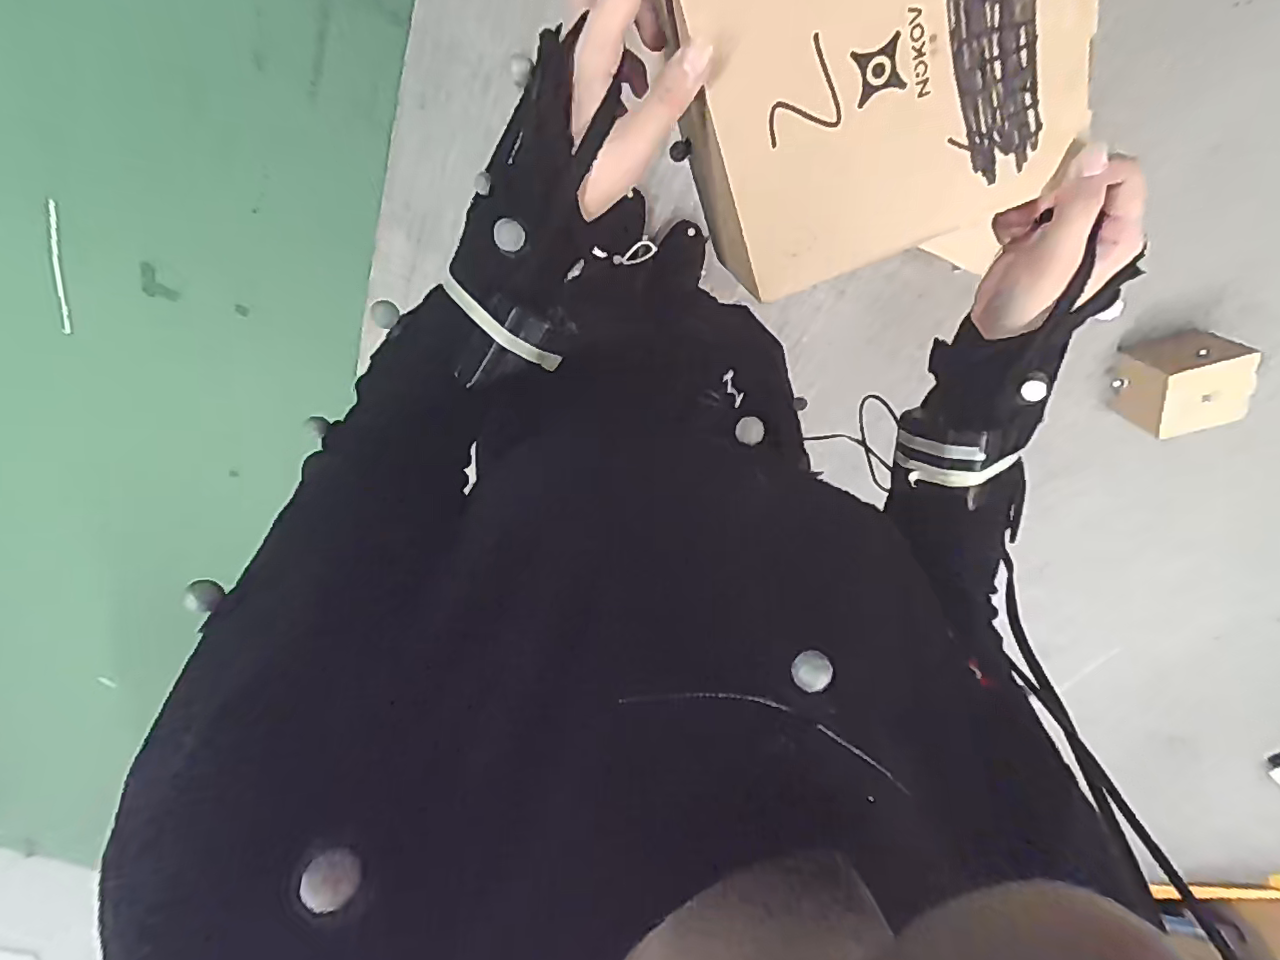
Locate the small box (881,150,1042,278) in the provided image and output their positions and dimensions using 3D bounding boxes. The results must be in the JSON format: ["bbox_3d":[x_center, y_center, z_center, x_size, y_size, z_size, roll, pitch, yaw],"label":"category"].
[{"bbox_3d":[0.607,-0.518,1.051,0.179,0.176,0.168,18,120,-11],"label":"small box"}]

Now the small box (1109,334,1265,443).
[{"bbox_3d":[1.231,-0.214,1.233,0.179,0.176,0.168,-16,119,11],"label":"small box"}]
